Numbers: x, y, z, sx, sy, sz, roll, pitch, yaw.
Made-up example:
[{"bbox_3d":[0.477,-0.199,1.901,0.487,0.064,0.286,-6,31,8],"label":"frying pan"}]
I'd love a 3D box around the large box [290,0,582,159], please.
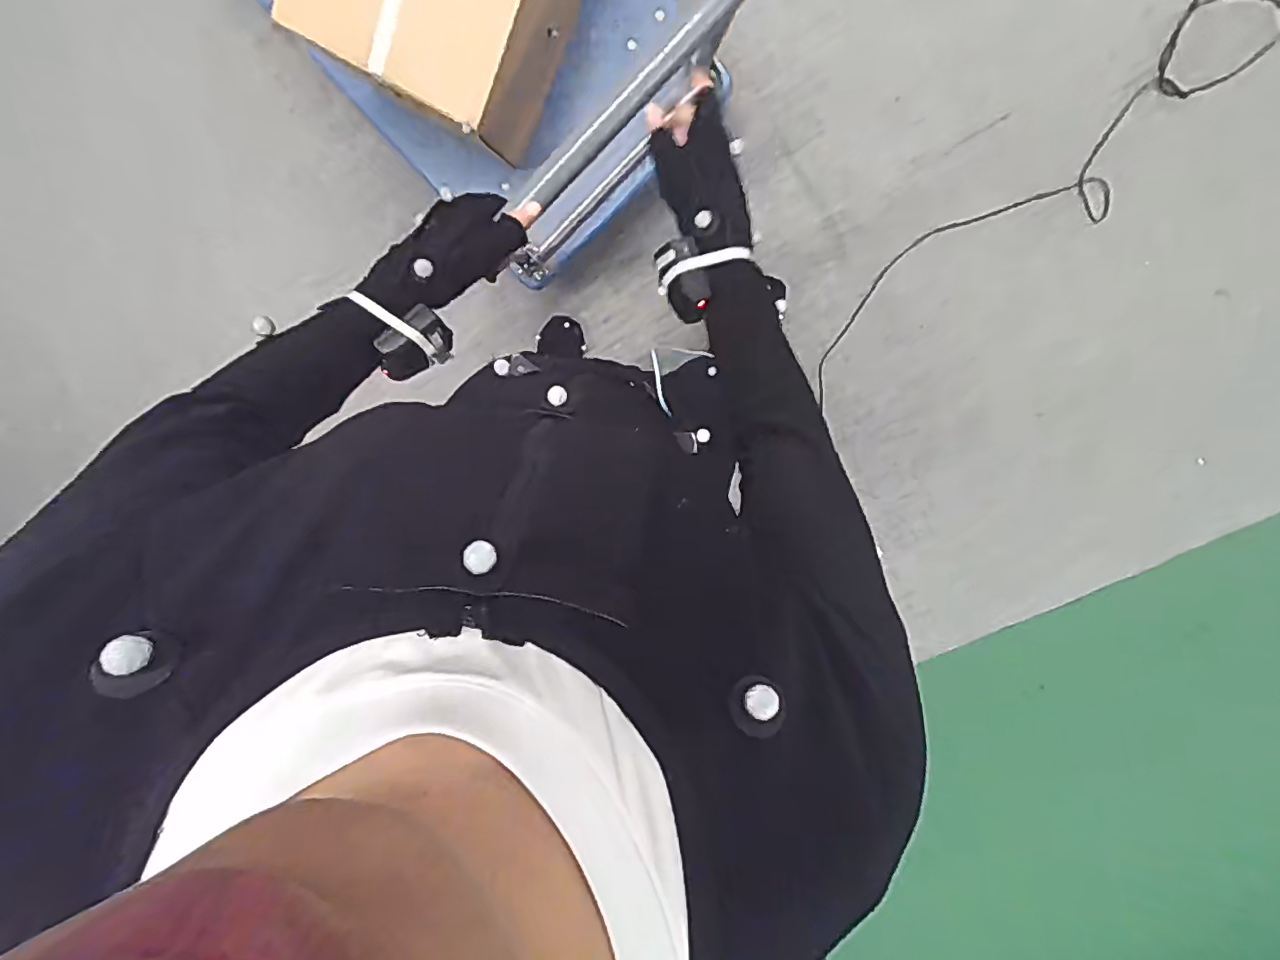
[{"bbox_3d":[-0.279,-0.816,0.864,0.320,0.320,0.408,25,110,-9],"label":"large box"}]
